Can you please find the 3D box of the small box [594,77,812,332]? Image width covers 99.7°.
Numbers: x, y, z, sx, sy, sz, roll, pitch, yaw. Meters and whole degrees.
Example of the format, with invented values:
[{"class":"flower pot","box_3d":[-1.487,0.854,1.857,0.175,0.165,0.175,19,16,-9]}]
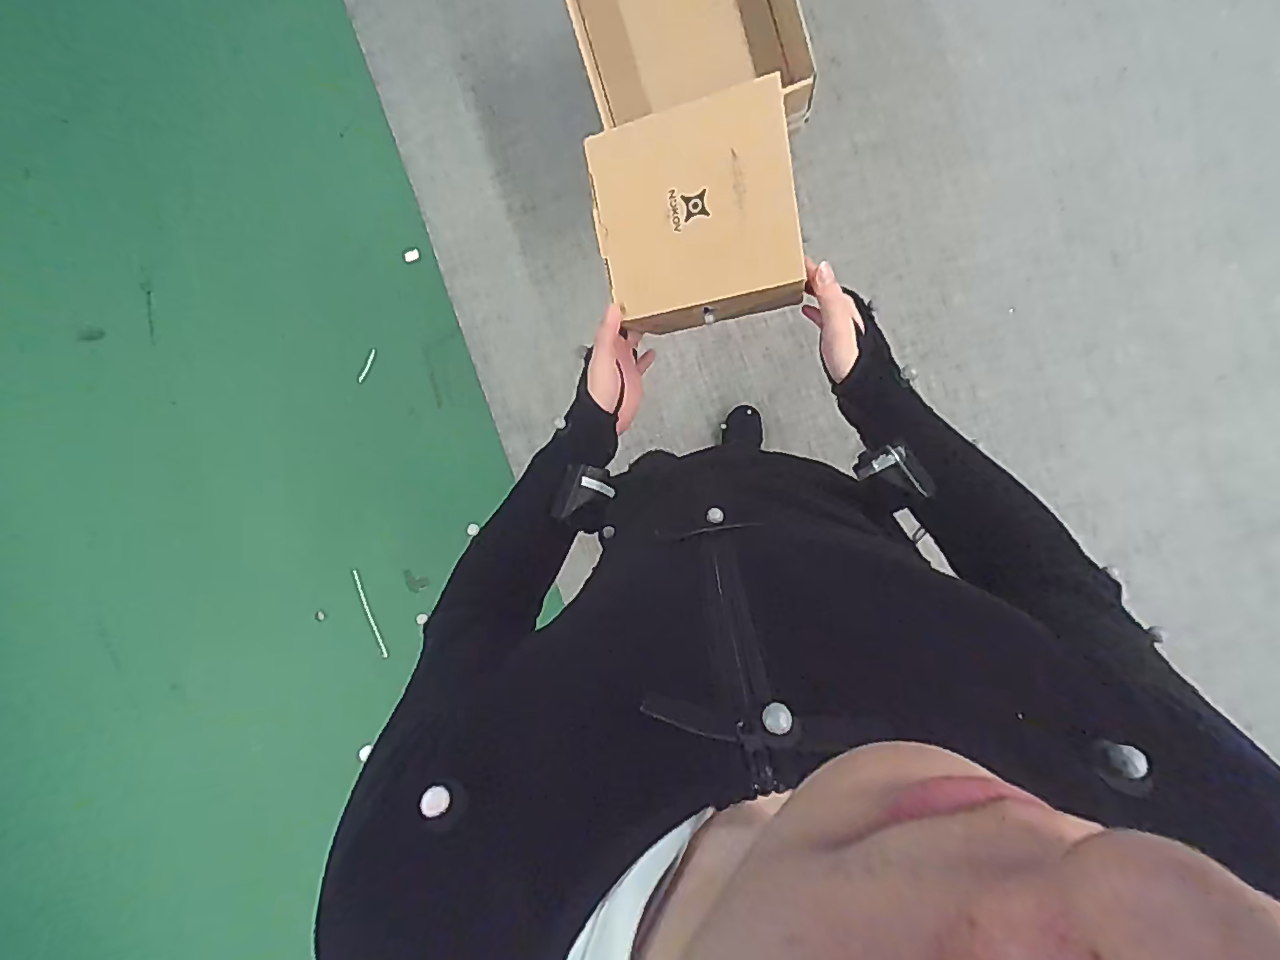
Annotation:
[{"class":"small box","box_3d":[0.074,-0.251,0.546,0.179,0.176,0.168,-7,99,16]}]
